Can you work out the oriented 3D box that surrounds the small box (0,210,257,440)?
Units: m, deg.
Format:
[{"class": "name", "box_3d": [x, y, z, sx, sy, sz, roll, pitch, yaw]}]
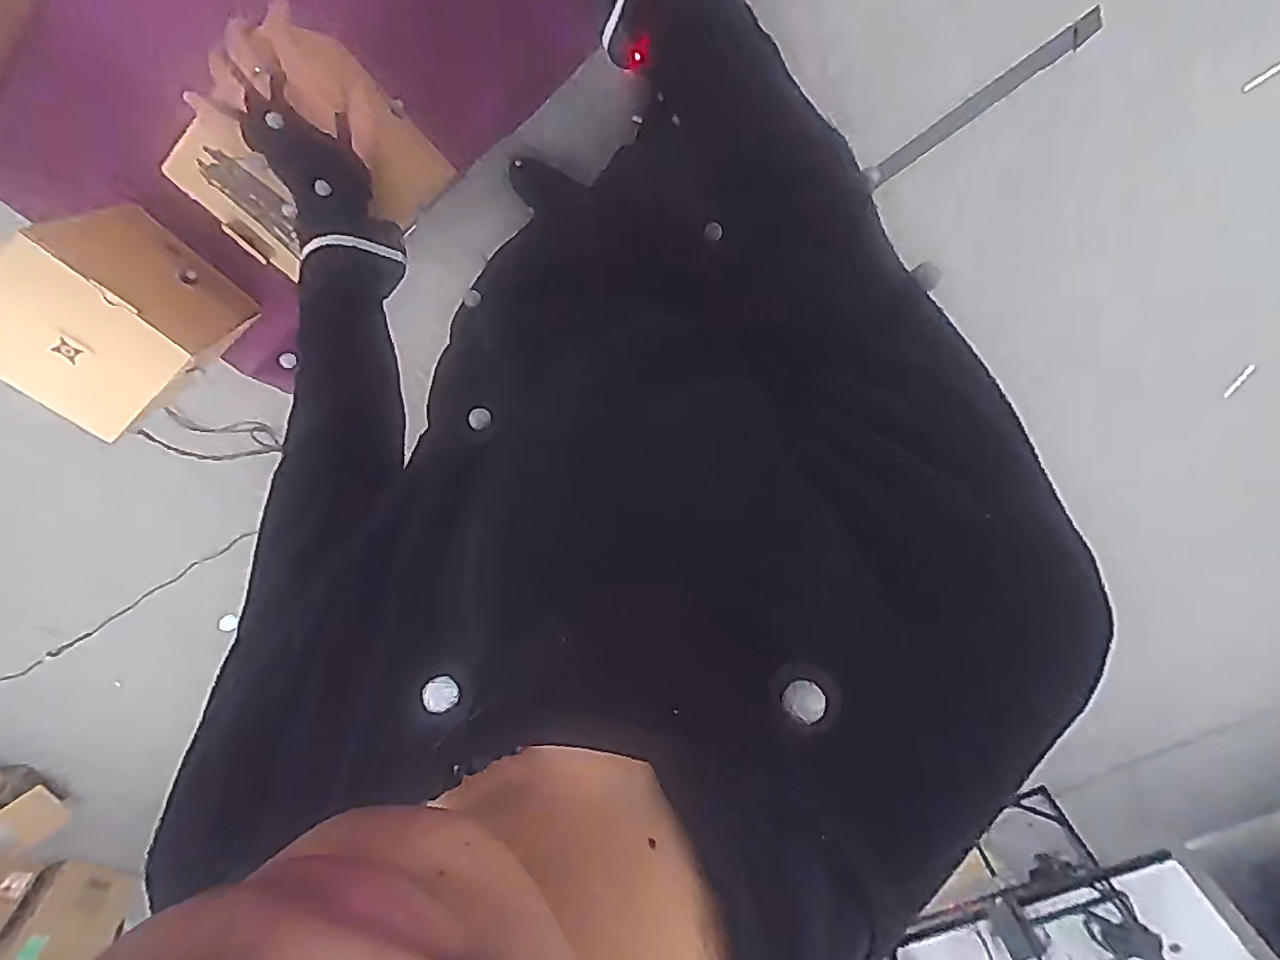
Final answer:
[{"class": "small box", "box_3d": [-0.608, -0.186, 0.642, 0.179, 0.176, 0.168, -35, 122, 16]}]

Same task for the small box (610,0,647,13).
[{"class": "small box", "box_3d": [0.006, -0.551, 0.461, 0.168, 0.176, 0.179, -31, 124, 15]}]
